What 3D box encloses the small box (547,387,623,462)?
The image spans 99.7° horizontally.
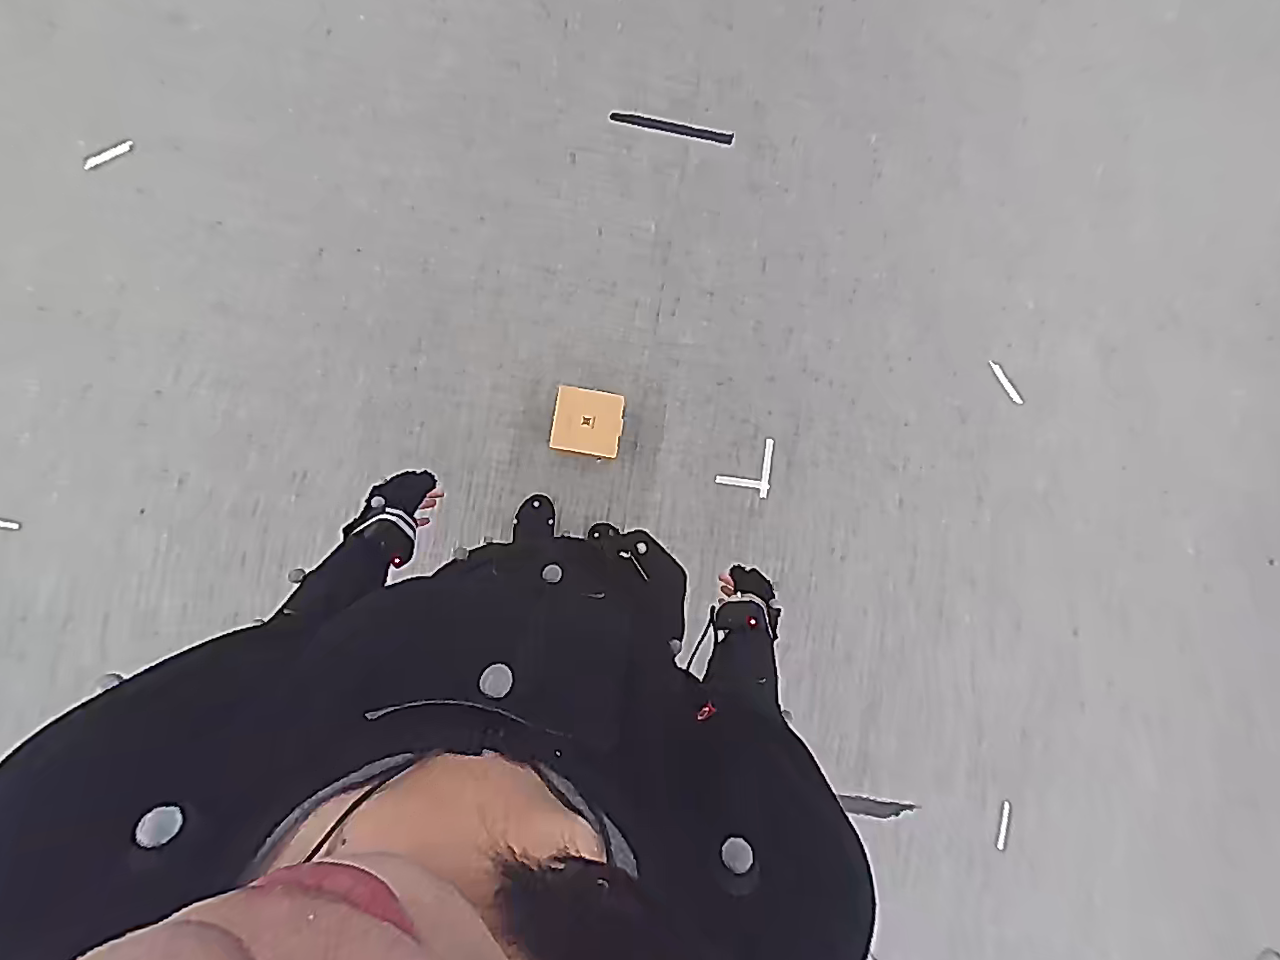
[{"bbox_3d":[-0.146,-0.143,1.461,0.179,0.176,0.168,9,87,-4],"label":"small box"}]
